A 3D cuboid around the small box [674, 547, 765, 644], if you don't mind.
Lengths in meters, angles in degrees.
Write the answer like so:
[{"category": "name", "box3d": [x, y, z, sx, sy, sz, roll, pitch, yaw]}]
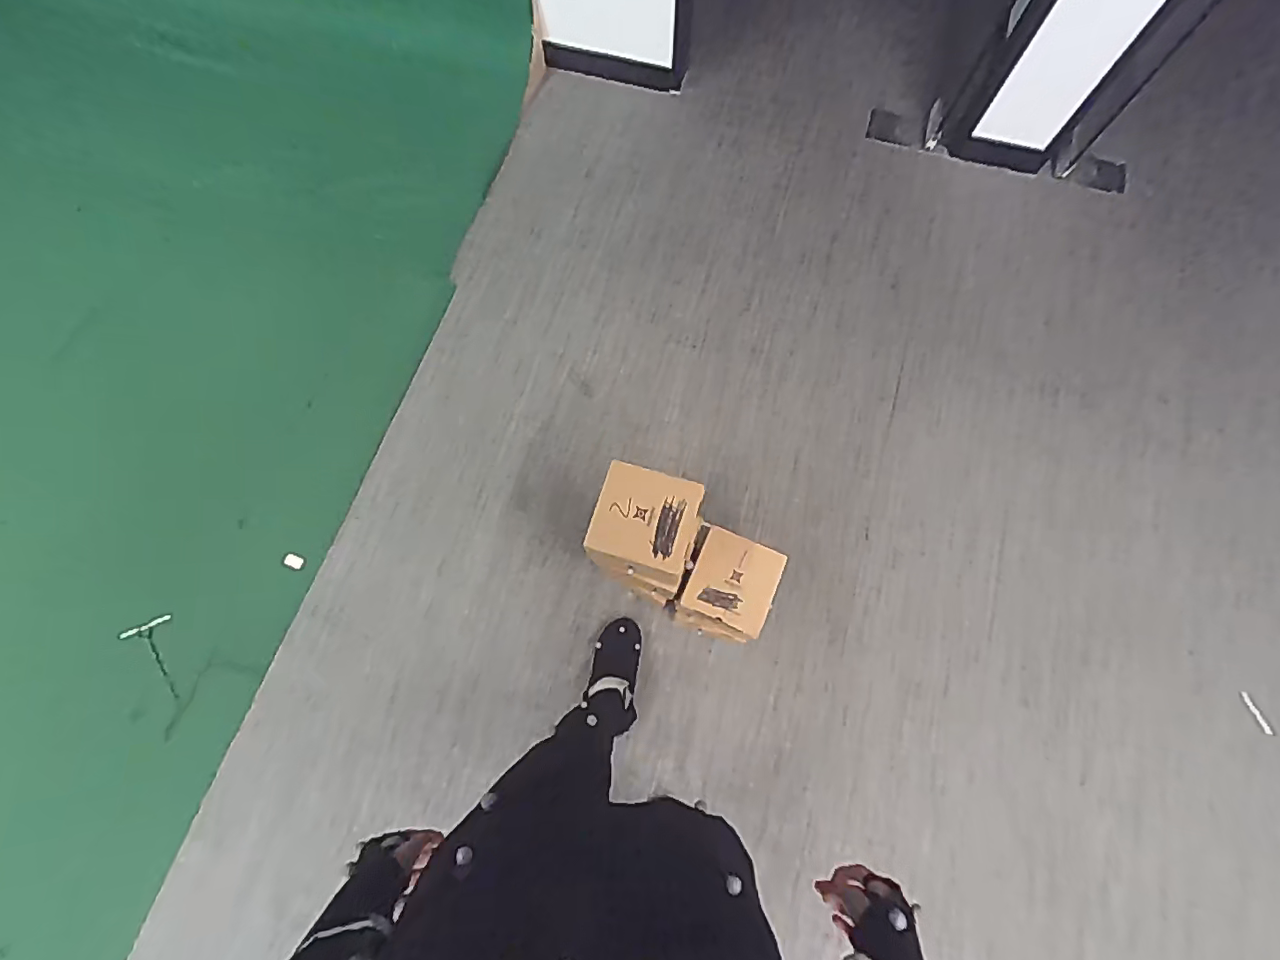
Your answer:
[{"category": "small box", "box3d": [0.181, 0.279, 1.291, 0.168, 0.176, 0.179, 17, 75, 5]}]
